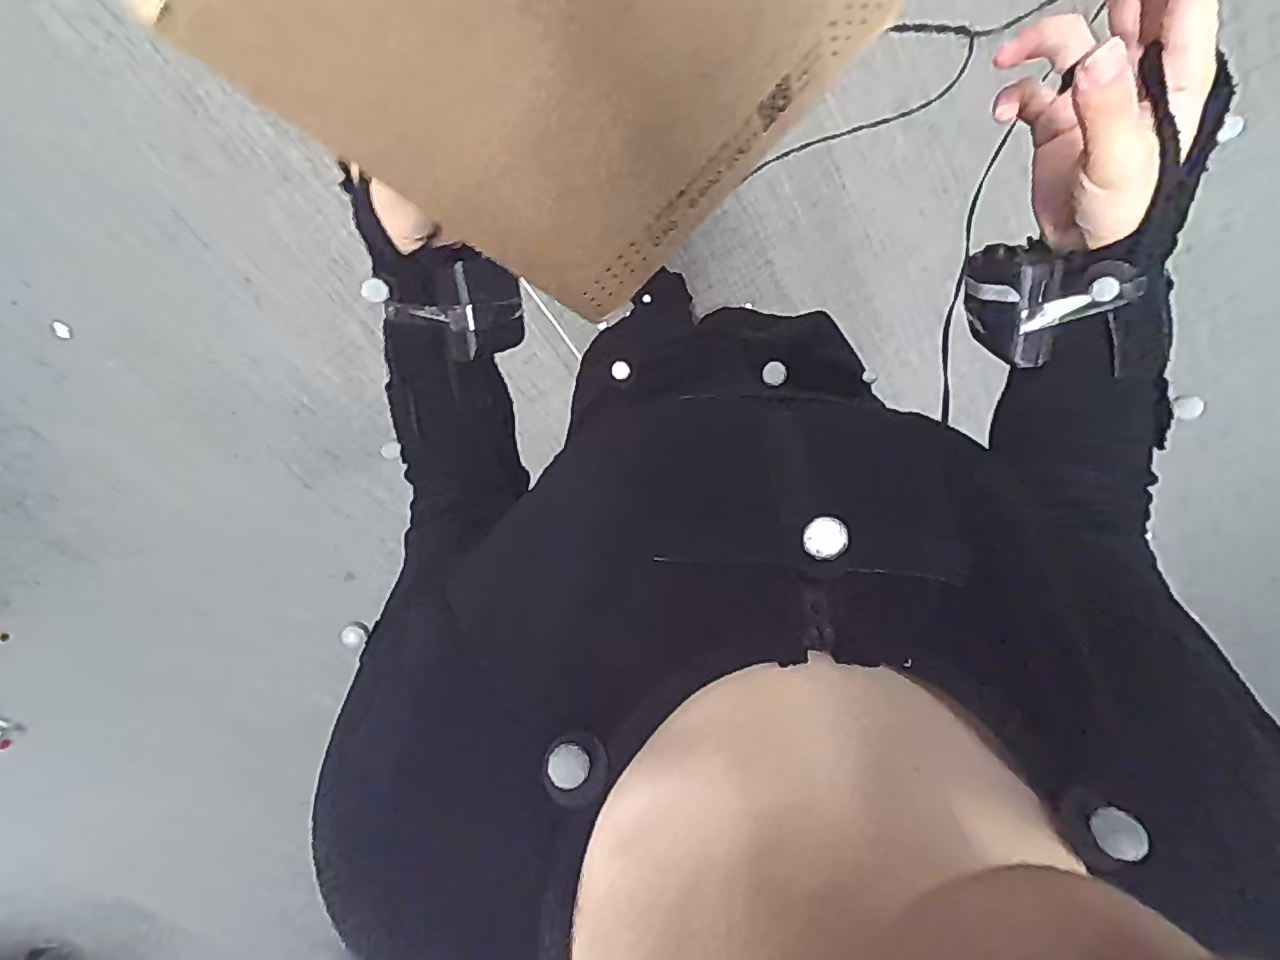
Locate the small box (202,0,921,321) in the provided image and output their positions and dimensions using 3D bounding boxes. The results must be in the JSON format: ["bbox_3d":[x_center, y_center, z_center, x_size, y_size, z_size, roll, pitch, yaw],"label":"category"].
[{"bbox_3d":[-0.028,-0.183,0.174,0.168,0.176,0.179,-43,74,15],"label":"small box"}]
